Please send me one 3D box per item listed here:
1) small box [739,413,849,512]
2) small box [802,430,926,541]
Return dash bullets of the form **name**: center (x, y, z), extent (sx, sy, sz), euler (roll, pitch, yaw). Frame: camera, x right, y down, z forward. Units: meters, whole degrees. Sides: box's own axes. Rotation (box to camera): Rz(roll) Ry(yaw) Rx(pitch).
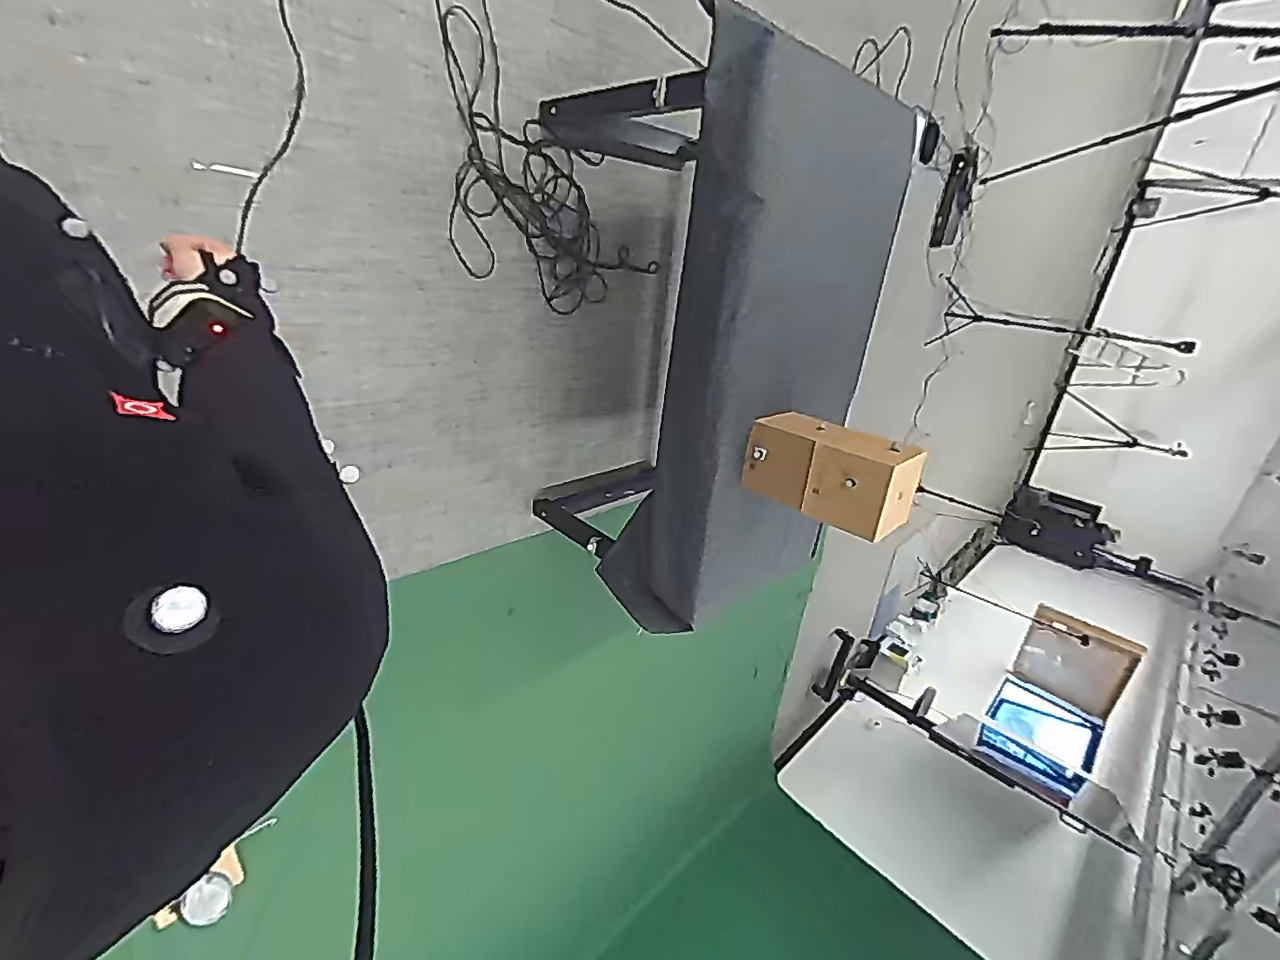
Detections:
- **small box**: center (0.355, -0.049, 1.241), extent (0.179, 0.176, 0.168), euler (-15, 120, -41)
- **small box**: center (0.462, 0.004, 1.131), extent (0.179, 0.176, 0.168), euler (-18, 122, -42)
